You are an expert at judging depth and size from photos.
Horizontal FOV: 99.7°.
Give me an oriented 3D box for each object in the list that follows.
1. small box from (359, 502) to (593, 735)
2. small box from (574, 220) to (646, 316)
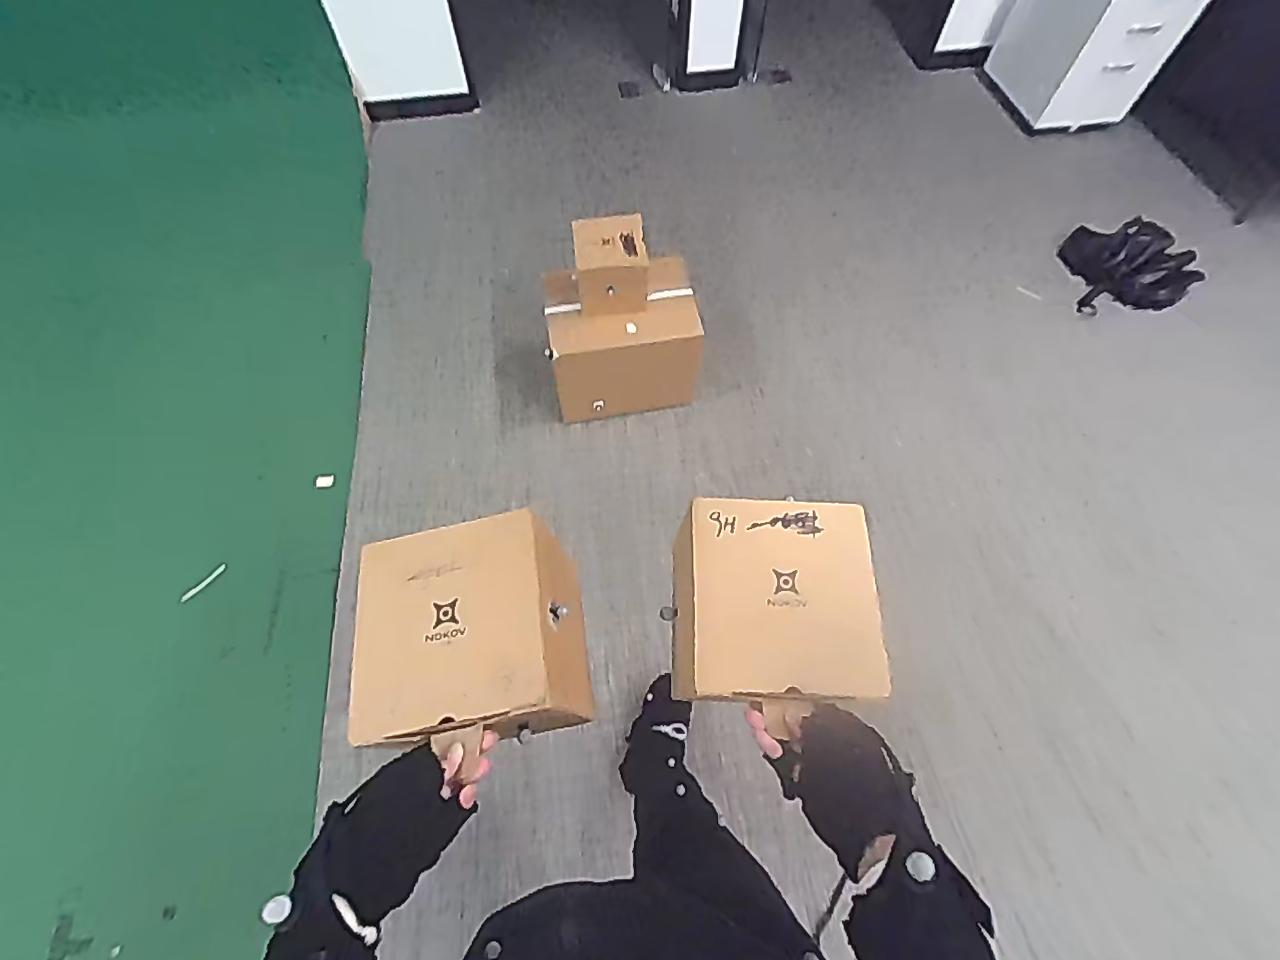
[{"bbox_3d":[-0.151,0.149,0.542,0.168,0.176,0.179,-13,60,2],"label":"small box"},{"bbox_3d":[-0.078,-0.542,1.397,0.179,0.176,0.168,-3,66,-3],"label":"small box"}]
